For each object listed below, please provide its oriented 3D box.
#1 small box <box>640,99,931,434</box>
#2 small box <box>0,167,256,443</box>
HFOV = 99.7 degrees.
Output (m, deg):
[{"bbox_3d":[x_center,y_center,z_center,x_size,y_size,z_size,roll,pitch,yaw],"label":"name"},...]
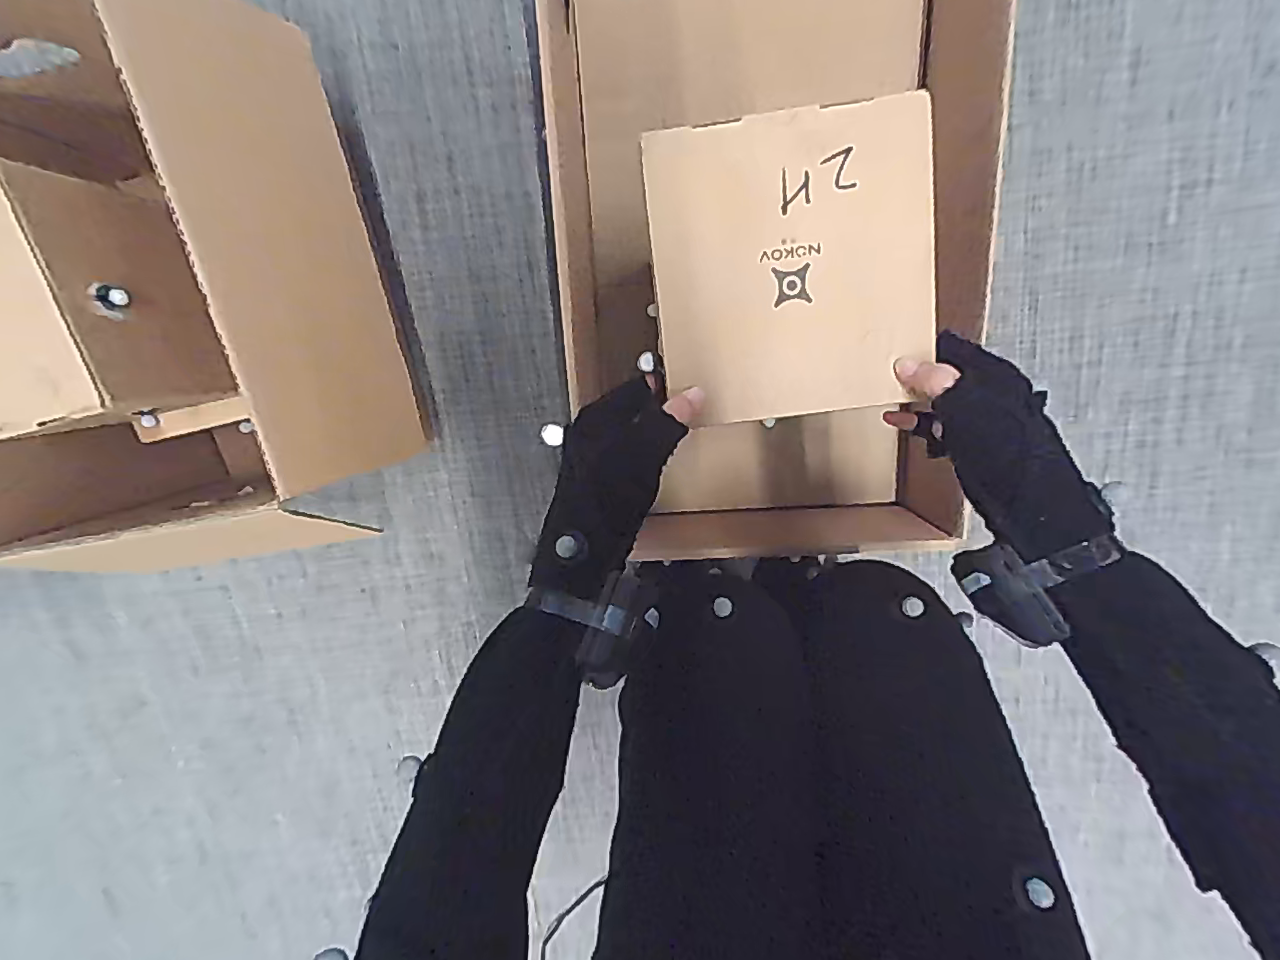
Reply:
[{"bbox_3d":[0.093,-0.139,0.403,0.168,0.176,0.179,-6,102,3],"label":"small box"},{"bbox_3d":[-0.483,-0.137,0.464,0.168,0.176,0.179,-11,104,5],"label":"small box"}]
